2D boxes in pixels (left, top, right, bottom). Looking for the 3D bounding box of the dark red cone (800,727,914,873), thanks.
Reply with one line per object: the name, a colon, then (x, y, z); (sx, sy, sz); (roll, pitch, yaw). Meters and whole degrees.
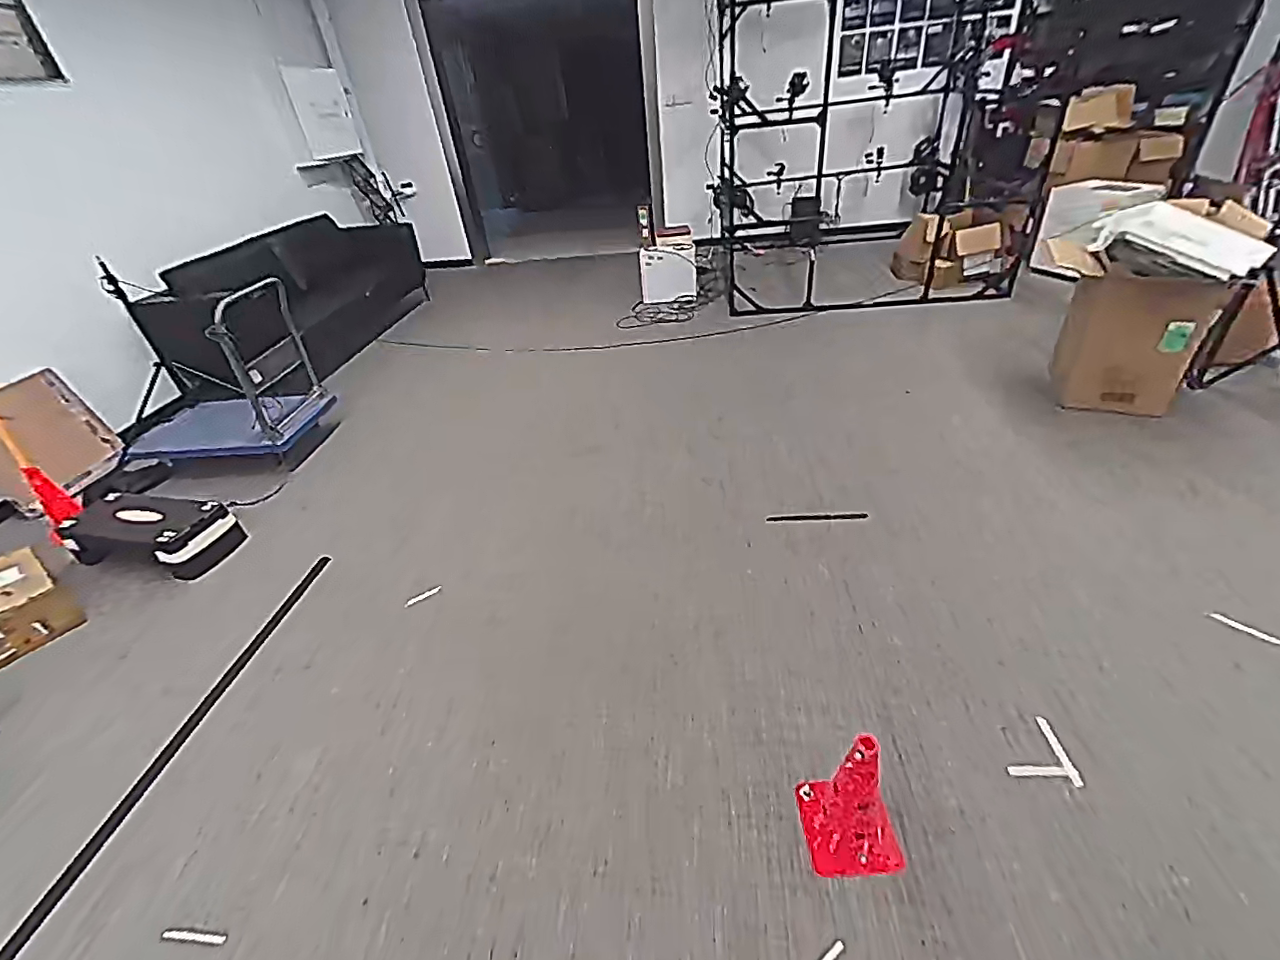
dark red cone: (0.464, 0.632, 1.121); (0.202, 0.394, 0.201); (-6, 36, 1)
